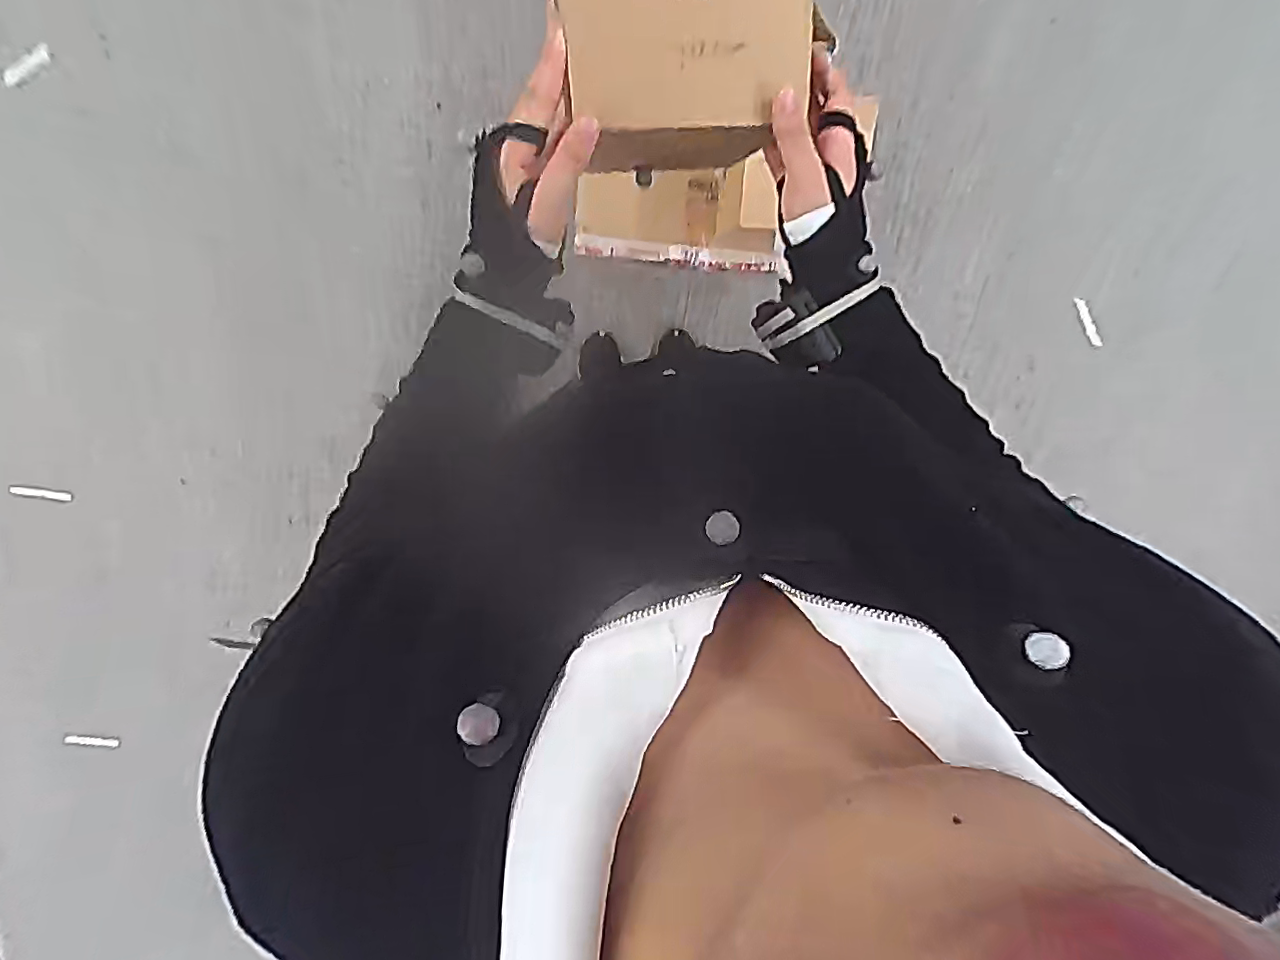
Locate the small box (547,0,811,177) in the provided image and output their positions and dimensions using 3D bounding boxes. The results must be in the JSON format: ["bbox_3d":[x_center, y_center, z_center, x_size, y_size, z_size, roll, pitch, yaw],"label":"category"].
[{"bbox_3d":[0.018,-0.348,0.415,0.168,0.176,0.179,-7,111,-8],"label":"small box"}]

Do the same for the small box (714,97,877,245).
[{"bbox_3d":[0.218,-0.450,0.807,0.179,0.176,0.168,1,109,-4],"label":"small box"}]
